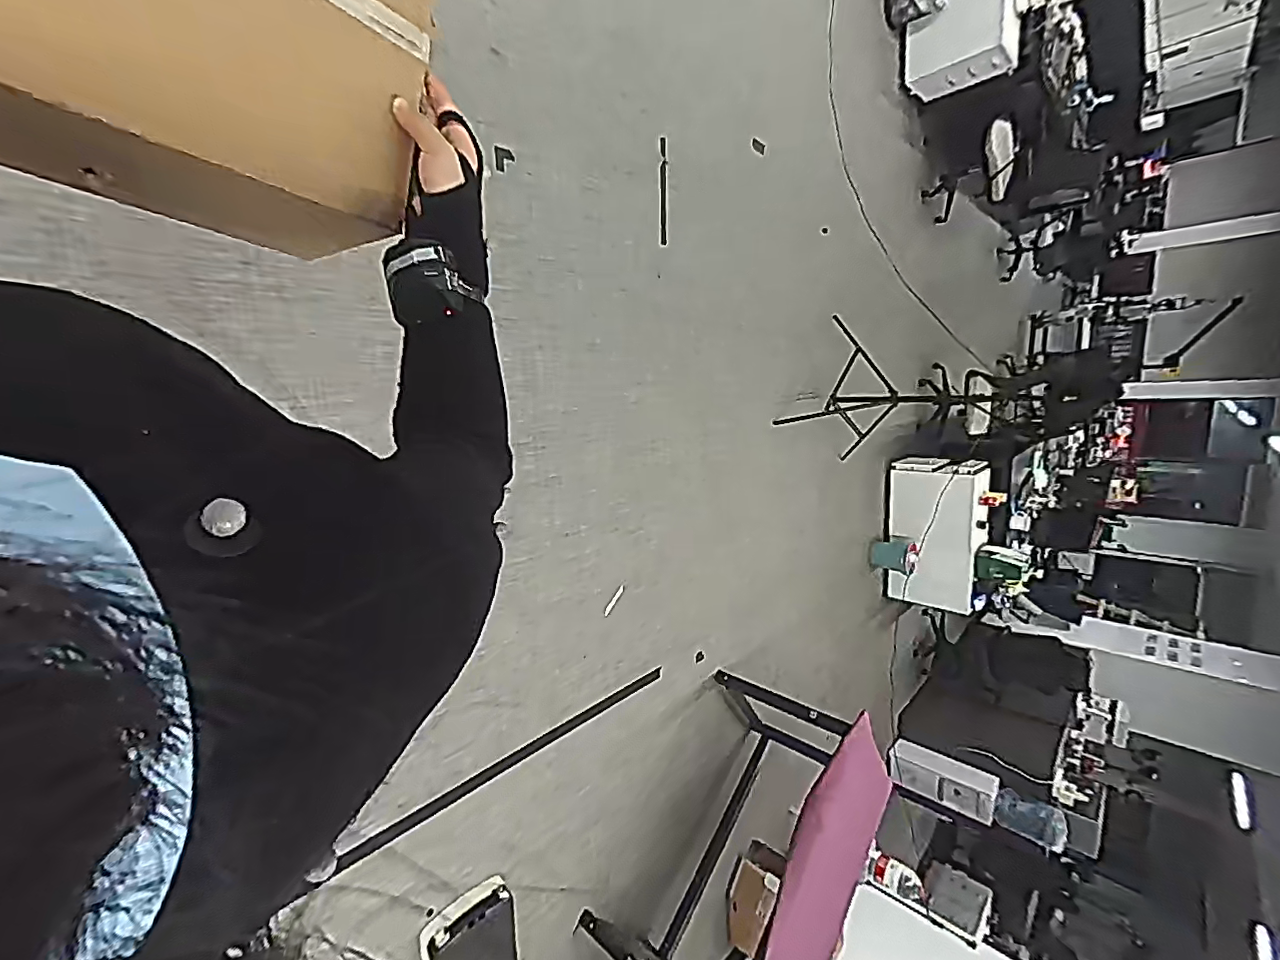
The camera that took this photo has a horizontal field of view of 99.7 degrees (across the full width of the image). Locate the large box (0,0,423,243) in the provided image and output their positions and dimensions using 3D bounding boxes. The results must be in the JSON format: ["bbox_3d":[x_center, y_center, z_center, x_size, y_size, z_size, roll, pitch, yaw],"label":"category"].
[{"bbox_3d":[-0.442,-0.427,0.448,0.408,0.320,0.320,4,98,-46],"label":"large box"}]
